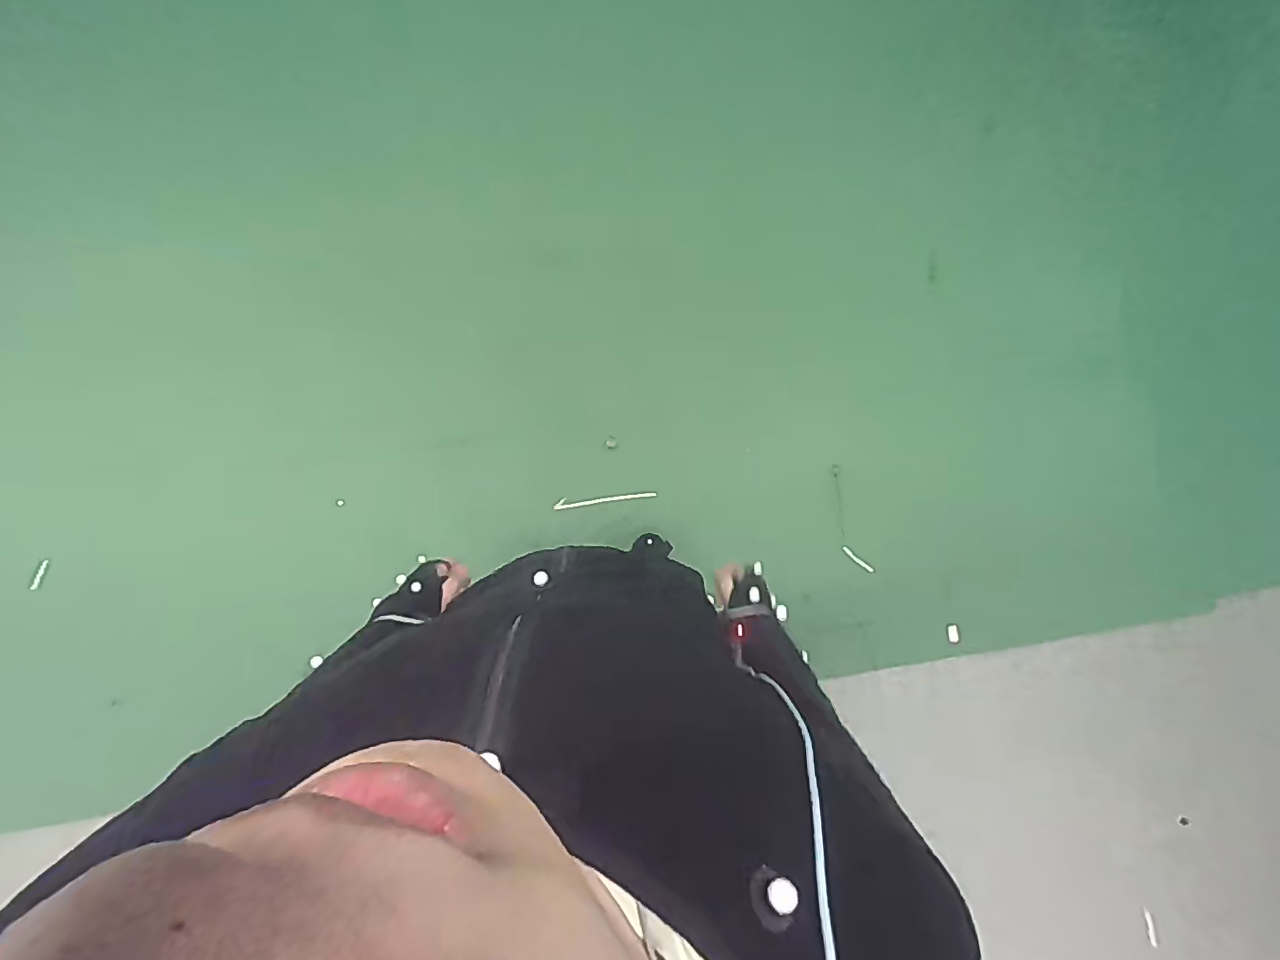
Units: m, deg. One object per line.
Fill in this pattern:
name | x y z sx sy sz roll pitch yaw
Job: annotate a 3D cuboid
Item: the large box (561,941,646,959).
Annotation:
large box | -0.153 1.469 1.358 0.408 0.320 0.320 -9 85 -6
